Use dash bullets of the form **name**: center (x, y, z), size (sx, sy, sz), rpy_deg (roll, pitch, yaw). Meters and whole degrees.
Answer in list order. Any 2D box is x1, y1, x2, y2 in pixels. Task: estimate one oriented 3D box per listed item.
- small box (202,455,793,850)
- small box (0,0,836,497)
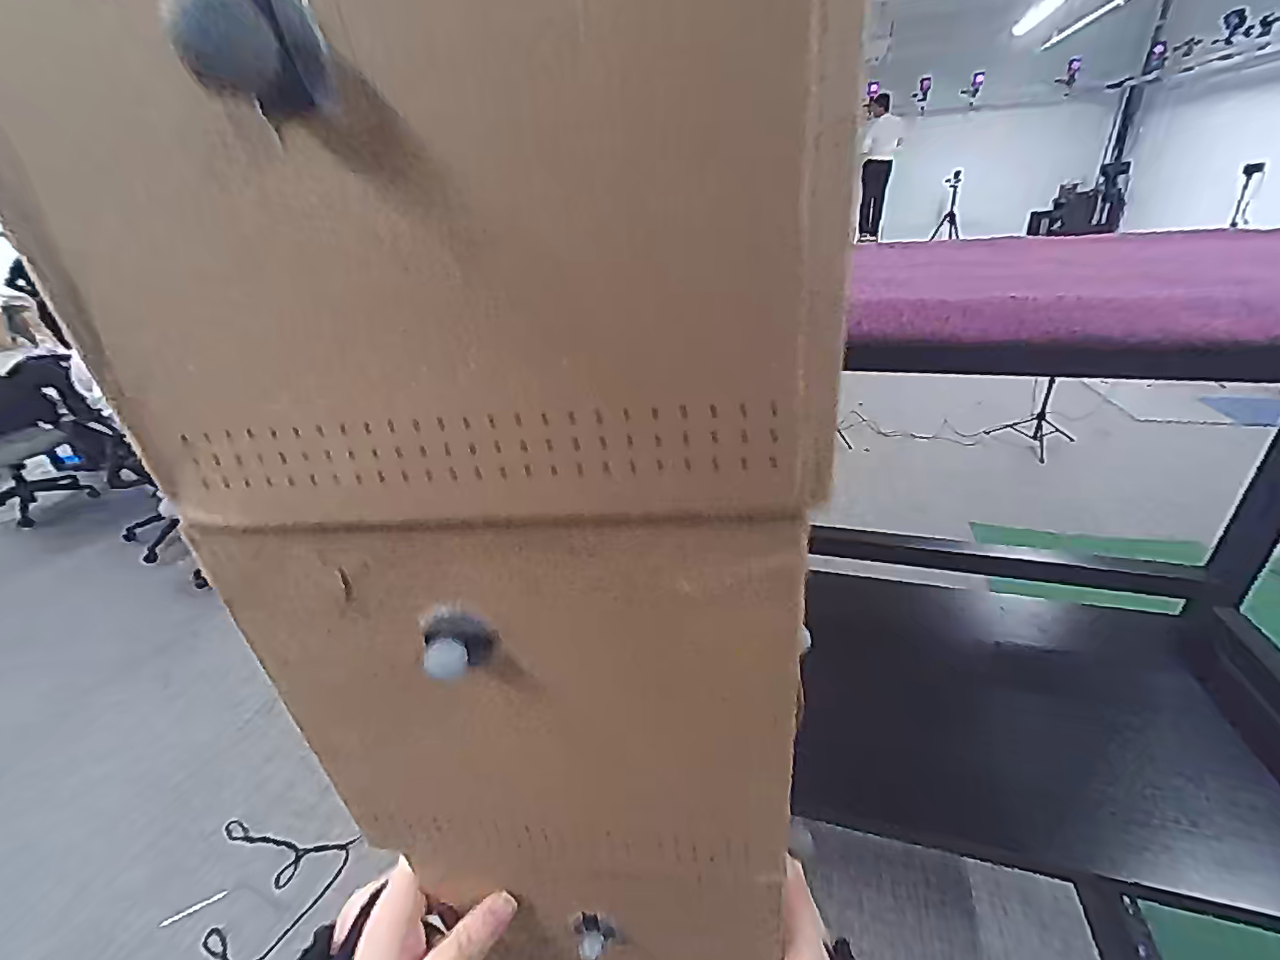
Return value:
- **small box**: center (-0.029, 0.039, 0.252), size (0.179, 0.176, 0.168), rpy_deg (-1, 29, 8)
- **small box**: center (-0.040, -0.104, 0.171), size (0.179, 0.176, 0.168), rpy_deg (-3, 29, 8)
